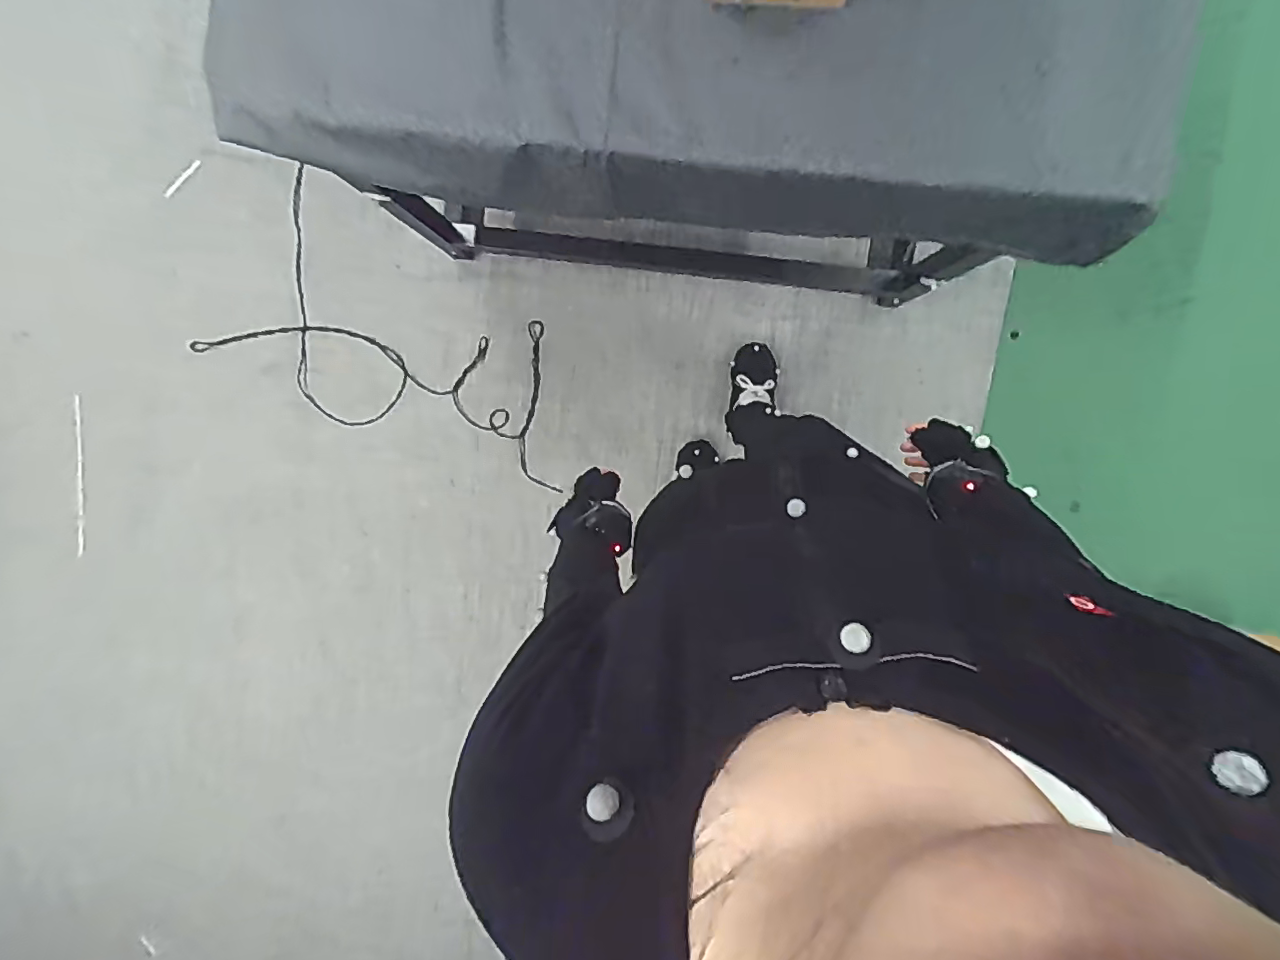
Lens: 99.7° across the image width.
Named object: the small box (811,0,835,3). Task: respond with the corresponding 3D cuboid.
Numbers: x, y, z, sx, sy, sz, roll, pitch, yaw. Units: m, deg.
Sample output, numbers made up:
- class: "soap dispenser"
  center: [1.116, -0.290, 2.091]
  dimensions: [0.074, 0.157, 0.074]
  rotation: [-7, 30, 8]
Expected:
- class: "small box"
  center: [0.172, -0.662, 0.574]
  dimensions: [0.168, 0.176, 0.179]
  rotation: [6, 96, 3]
